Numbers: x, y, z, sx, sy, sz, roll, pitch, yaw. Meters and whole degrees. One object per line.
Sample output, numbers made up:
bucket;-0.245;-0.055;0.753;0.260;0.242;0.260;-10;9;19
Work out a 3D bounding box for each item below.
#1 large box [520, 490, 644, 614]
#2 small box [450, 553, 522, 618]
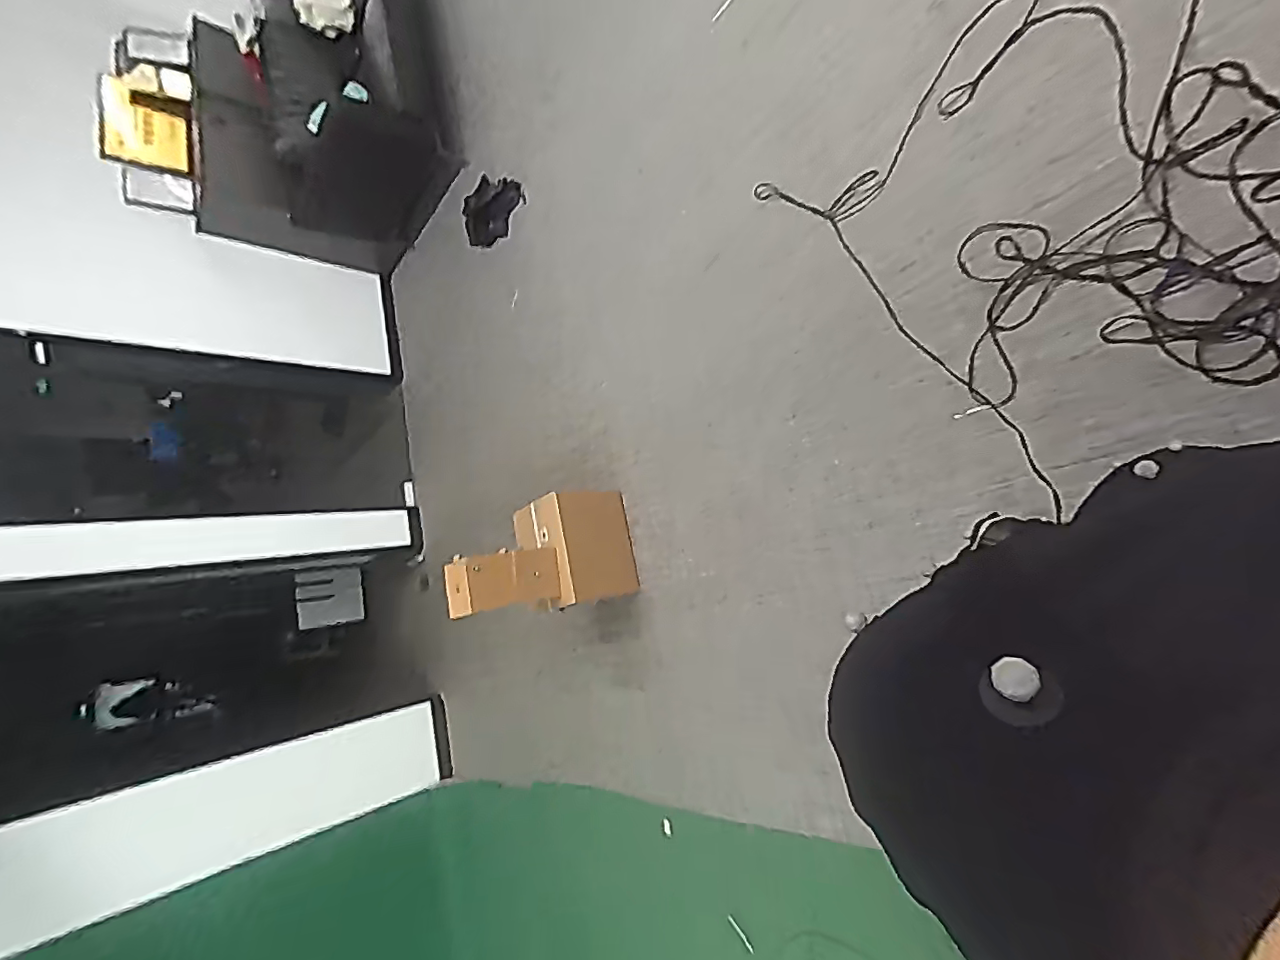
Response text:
large box;-0.226;0.273;2.082;0.320;0.320;0.408;-25;71;43
small box;-0.505;0.347;1.785;0.168;0.176;0.179;-24;73;45
